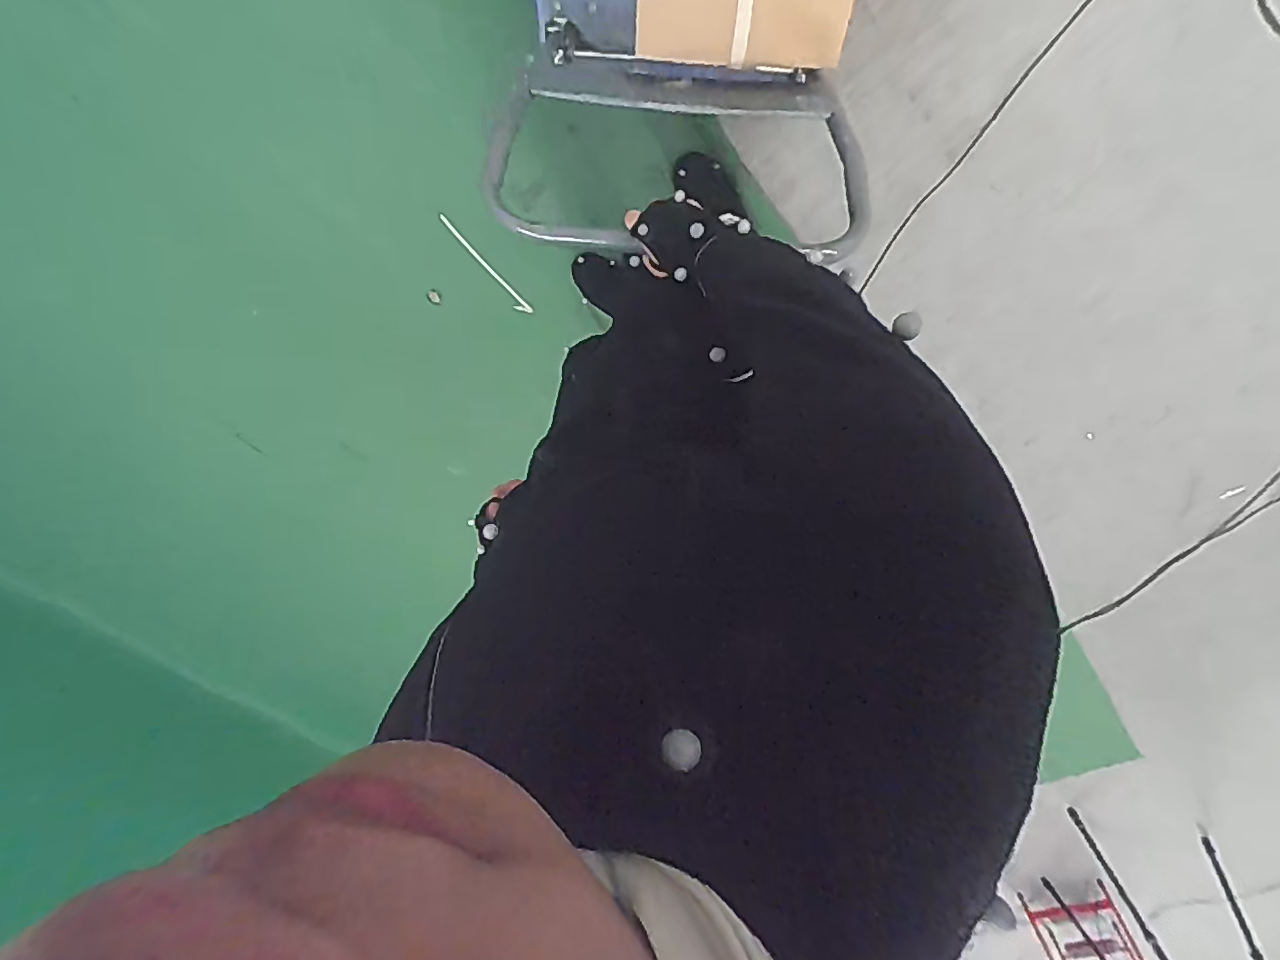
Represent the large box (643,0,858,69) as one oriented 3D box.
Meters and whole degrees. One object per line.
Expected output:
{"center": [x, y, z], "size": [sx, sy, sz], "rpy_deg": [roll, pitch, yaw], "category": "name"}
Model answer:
{"center": [0.172, -0.887, 0.797], "size": [0.320, 0.320, 0.408], "rpy_deg": [3, 138, 1], "category": "large box"}
